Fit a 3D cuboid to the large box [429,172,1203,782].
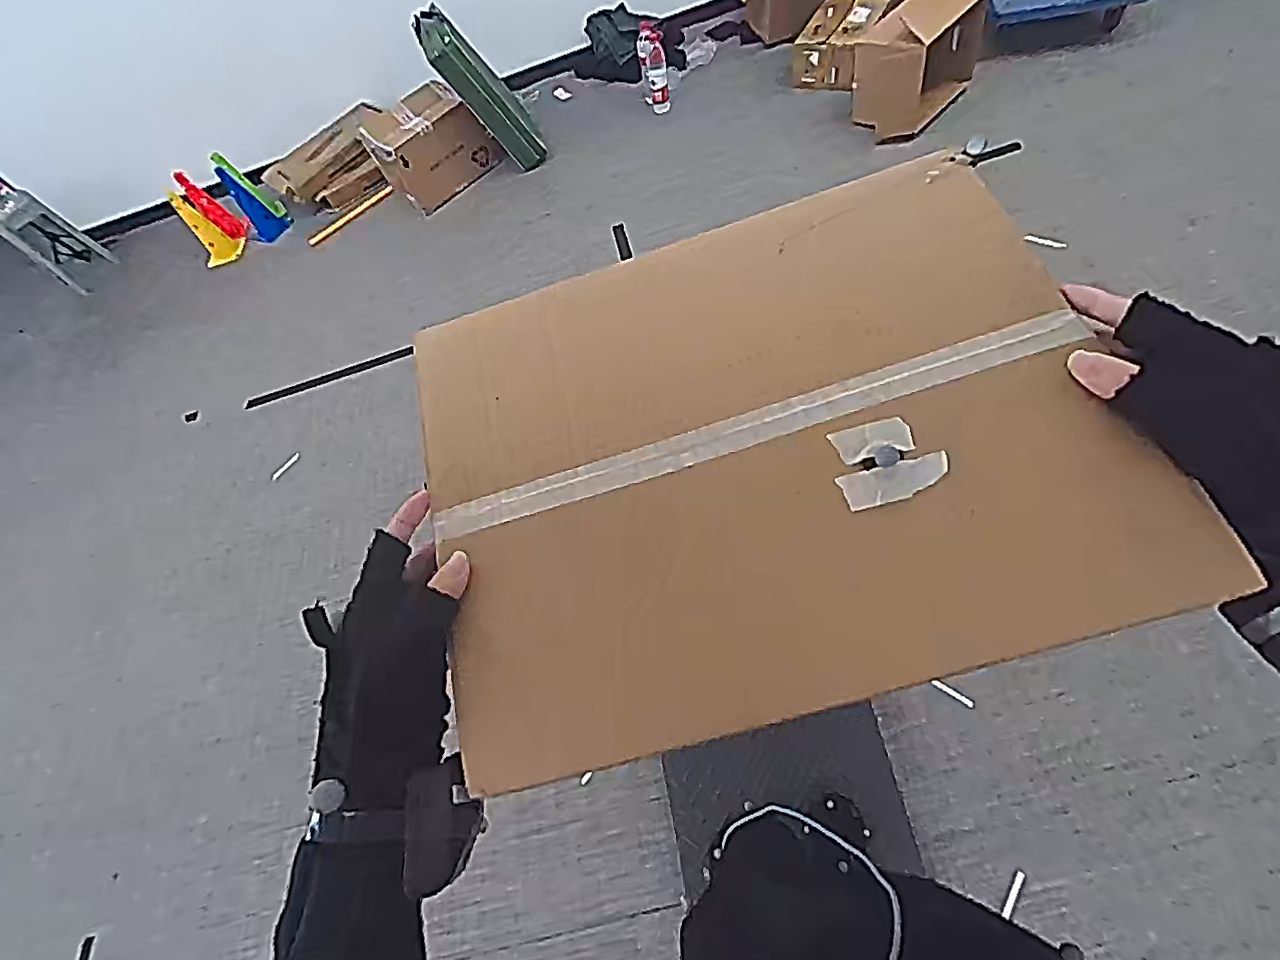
[{"bbox_3d":[0.089,0.025,0.482,0.408,0.320,0.320,-18,69,4],"label":"large box"}]
